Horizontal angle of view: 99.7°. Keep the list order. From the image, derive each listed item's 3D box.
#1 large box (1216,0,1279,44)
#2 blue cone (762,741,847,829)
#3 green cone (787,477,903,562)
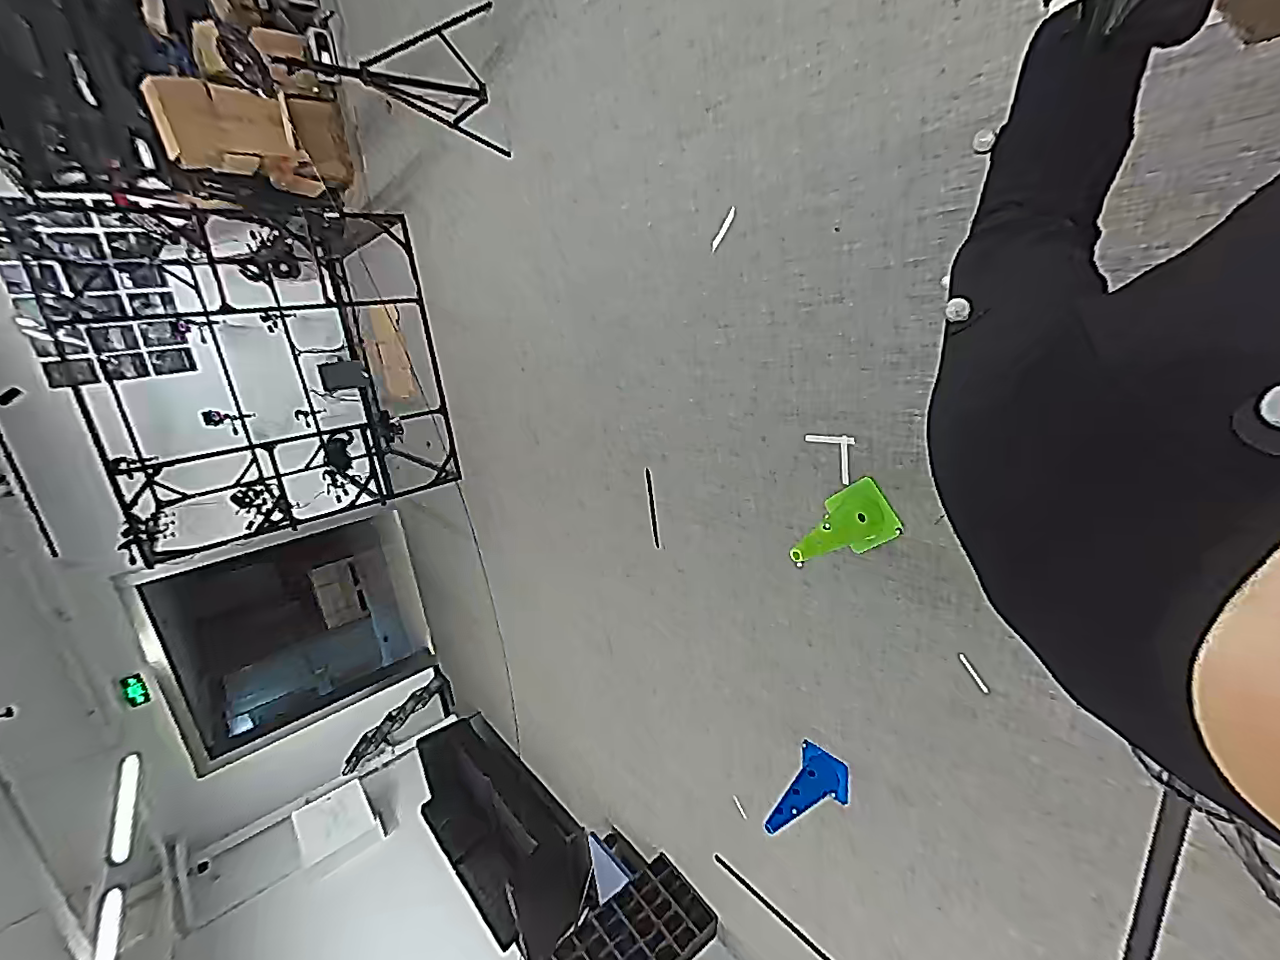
[{"bbox_3d":[0.548,-0.458,0.215,0.408,0.320,0.320,16,121,47],"label":"large box"},{"bbox_3d":[0.605,1.194,2.046,0.192,0.380,0.193,19,120,49],"label":"blue cone"},{"bbox_3d":[0.565,0.156,1.596,0.200,0.368,0.202,61,145,14],"label":"green cone"}]
